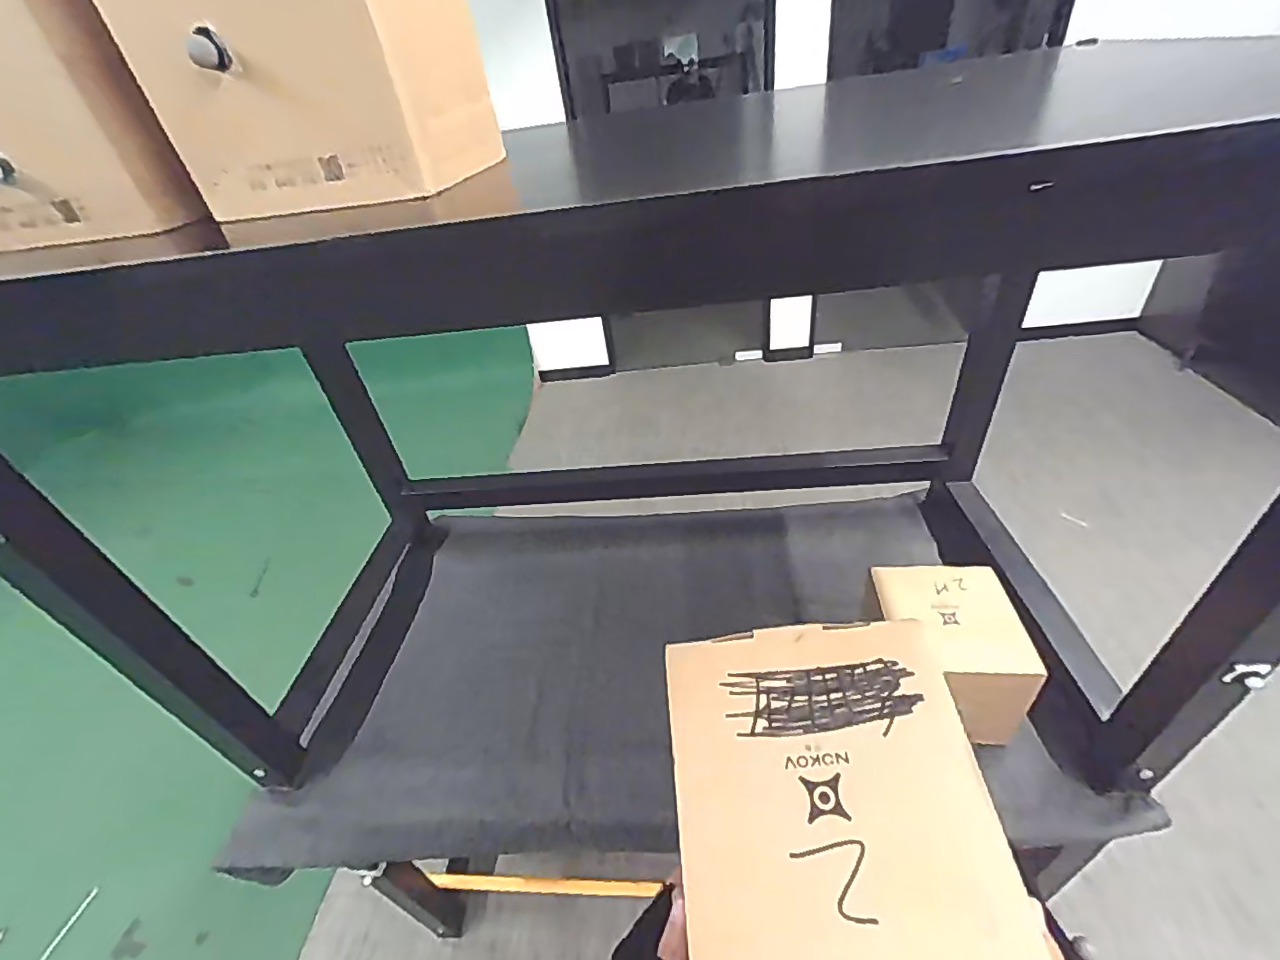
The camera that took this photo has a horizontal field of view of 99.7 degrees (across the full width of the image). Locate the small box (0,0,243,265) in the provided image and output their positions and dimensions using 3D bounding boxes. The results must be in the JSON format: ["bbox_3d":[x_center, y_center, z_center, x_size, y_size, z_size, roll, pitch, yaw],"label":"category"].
[{"bbox_3d":[-0.415,-0.278,0.416,0.168,0.176,0.179,-3,38,8],"label":"small box"}]

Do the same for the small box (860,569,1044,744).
[{"bbox_3d":[0.418,0.246,0.760,0.168,0.176,0.179,-1,37,10],"label":"small box"}]

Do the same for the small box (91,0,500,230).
[{"bbox_3d":[-0.220,-0.291,0.395,0.168,0.176,0.179,-2,37,9],"label":"small box"}]
